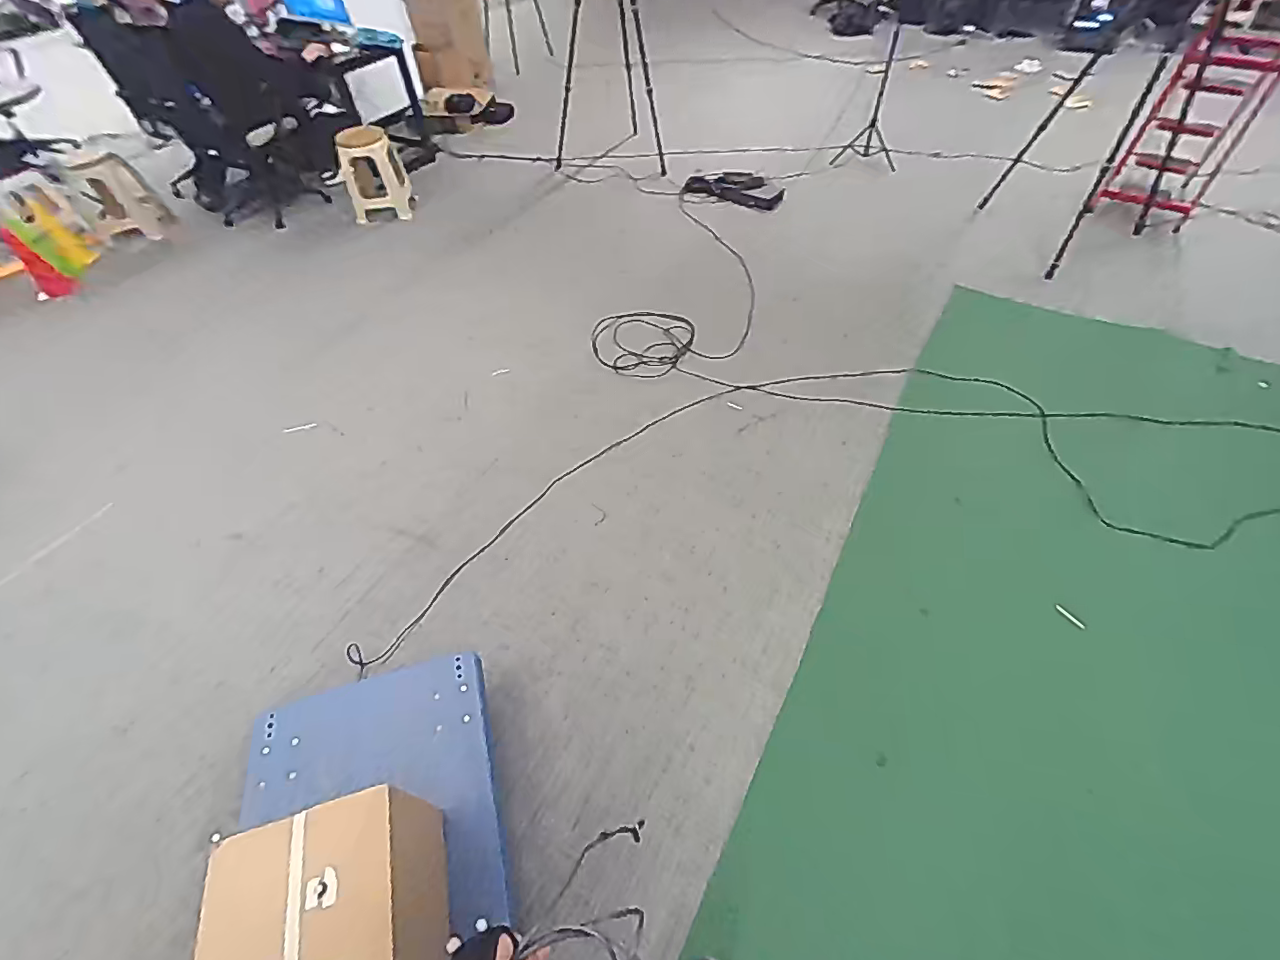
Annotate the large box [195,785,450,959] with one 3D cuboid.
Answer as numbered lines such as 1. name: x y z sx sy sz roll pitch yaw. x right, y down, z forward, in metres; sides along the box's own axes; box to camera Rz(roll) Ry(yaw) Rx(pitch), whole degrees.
1. large box: -0.553 0.852 0.985 0.320 0.320 0.408 -15 51 -10
